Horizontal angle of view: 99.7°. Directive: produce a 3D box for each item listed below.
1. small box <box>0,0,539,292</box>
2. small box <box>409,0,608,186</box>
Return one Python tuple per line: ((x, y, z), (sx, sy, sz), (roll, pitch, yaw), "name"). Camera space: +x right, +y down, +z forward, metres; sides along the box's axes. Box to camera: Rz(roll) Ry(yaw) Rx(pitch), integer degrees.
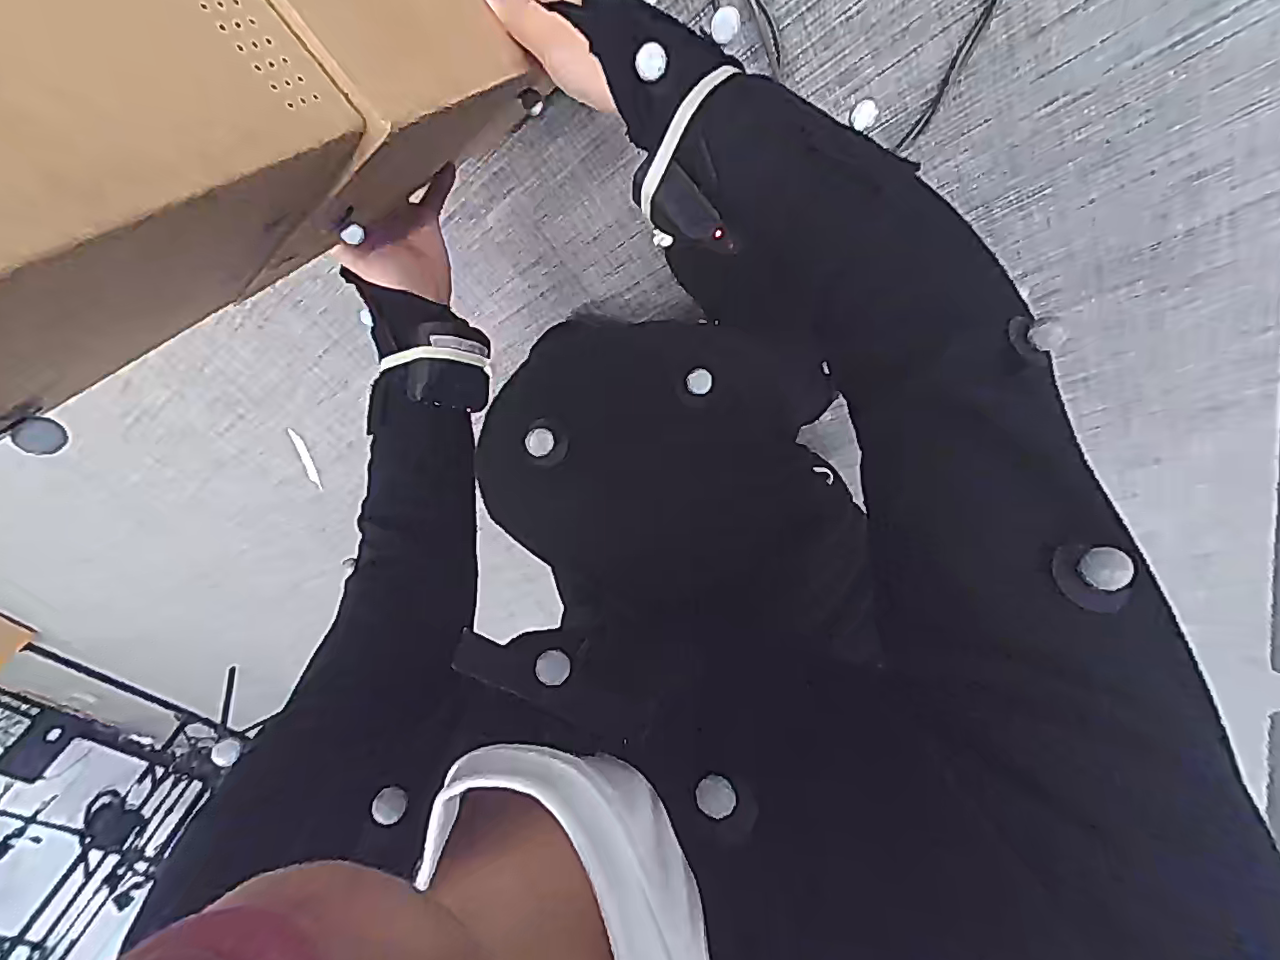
((-0.183, -0.233, 0.269), (0.179, 0.176, 0.168), (-16, 126, 34), "small box")
((-0.141, -0.348, 0.378), (0.179, 0.176, 0.168), (-16, 125, 35), "small box")
